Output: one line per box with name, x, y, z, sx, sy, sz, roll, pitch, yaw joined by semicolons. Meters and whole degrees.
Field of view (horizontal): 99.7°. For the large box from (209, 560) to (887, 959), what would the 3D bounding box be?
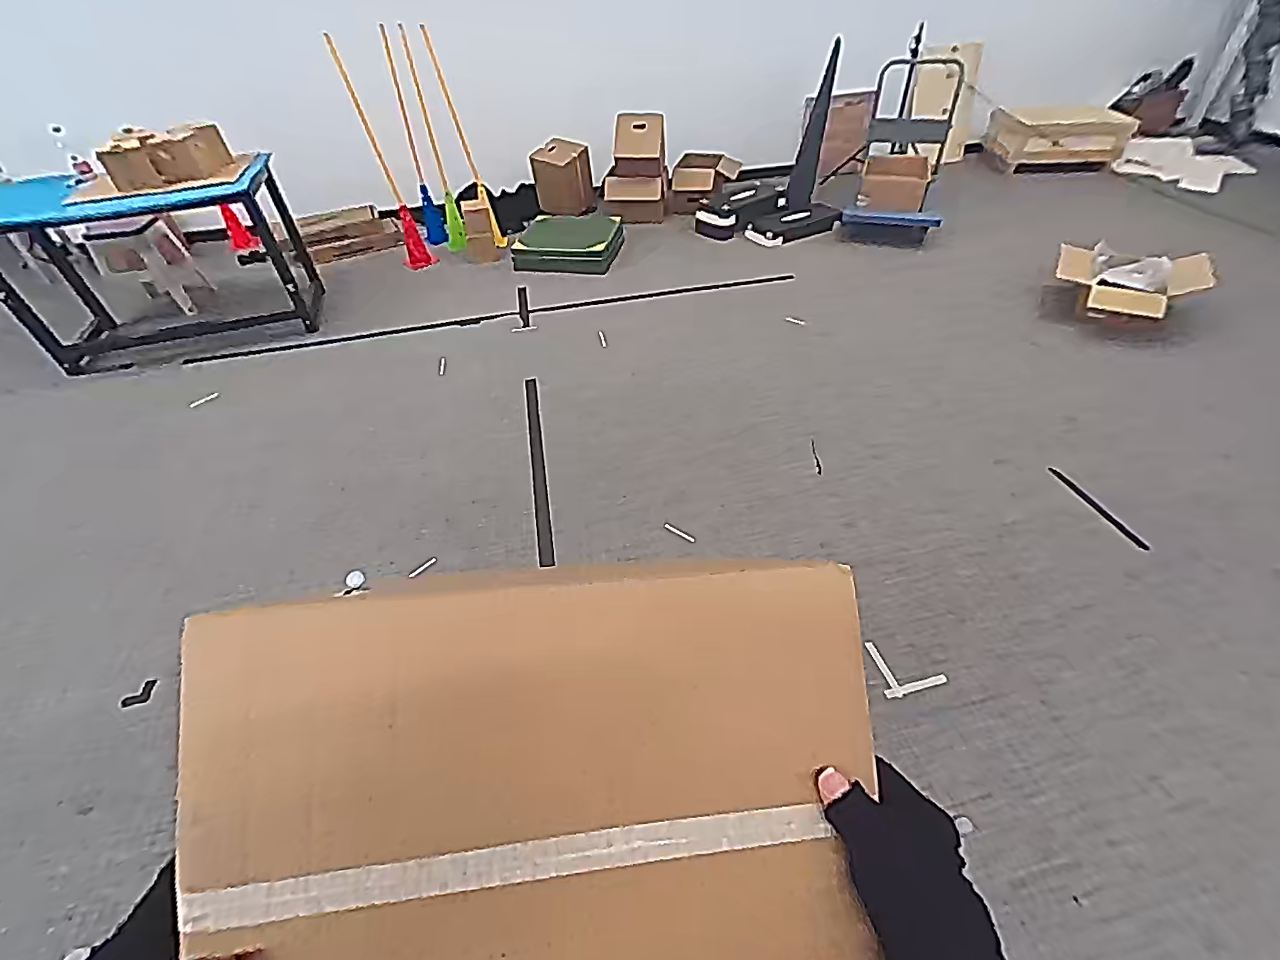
large box;-0.064;0.242;0.476;0.408;0.320;0.320;-3;84;-7
